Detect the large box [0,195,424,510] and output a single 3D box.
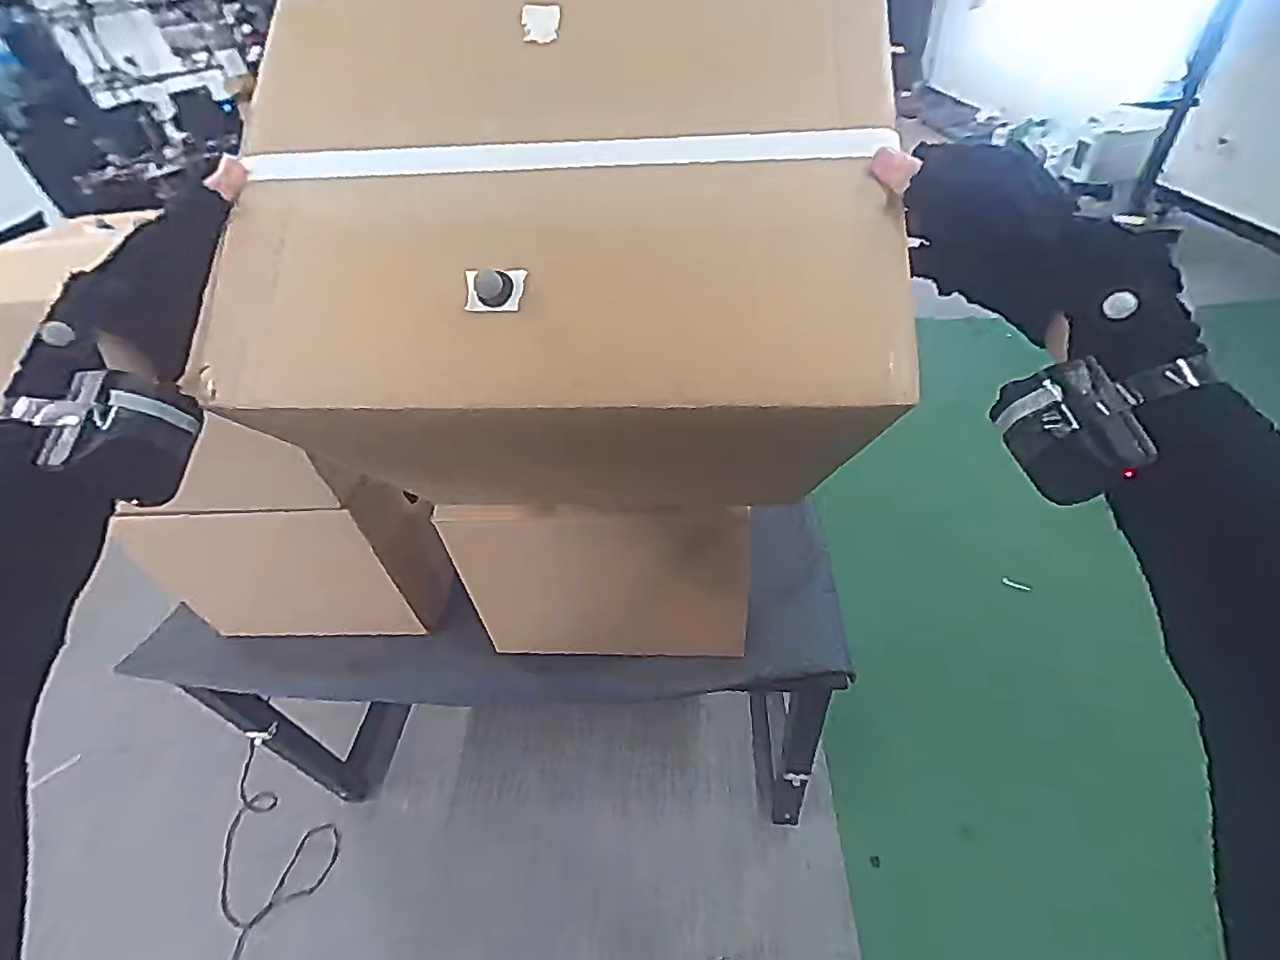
[{"bbox_3d":[-0.591,-0.174,0.762,0.408,0.320,0.320,-2,42,7],"label":"large box"}]
